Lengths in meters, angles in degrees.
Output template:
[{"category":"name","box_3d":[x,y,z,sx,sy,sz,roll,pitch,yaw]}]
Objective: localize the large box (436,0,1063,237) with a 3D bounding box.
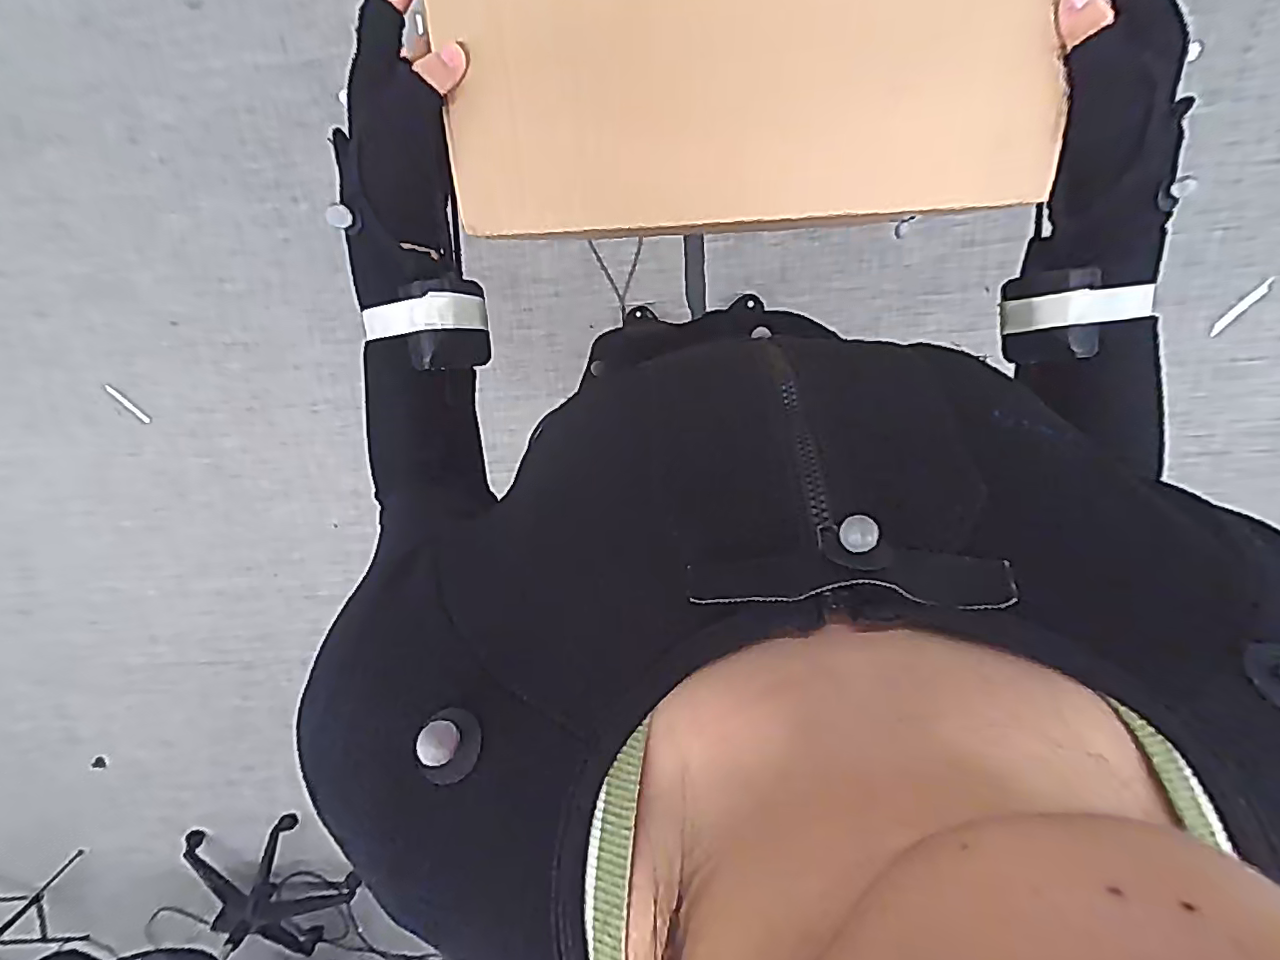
[{"category":"large box","box_3d":[0.071,-0.391,0.465,0.408,0.320,0.320,-2,113,3]}]
